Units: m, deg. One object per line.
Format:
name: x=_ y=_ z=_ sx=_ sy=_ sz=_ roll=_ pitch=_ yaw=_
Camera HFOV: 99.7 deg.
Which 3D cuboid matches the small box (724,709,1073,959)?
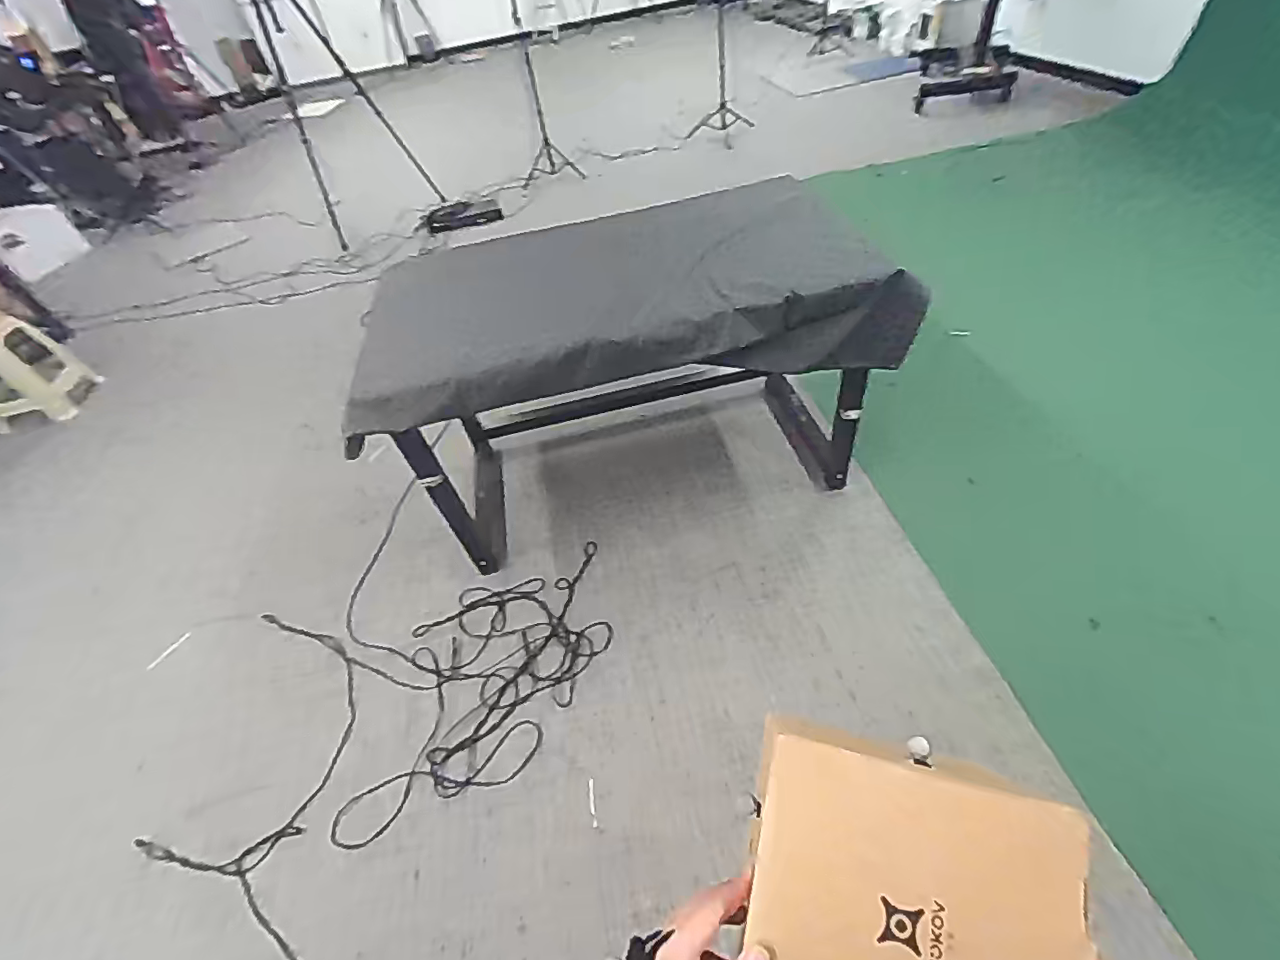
small box: x=0.159 y=0.267 z=0.379 sx=0.179 sy=0.176 sz=0.168 roll=9 pitch=73 yaw=13
